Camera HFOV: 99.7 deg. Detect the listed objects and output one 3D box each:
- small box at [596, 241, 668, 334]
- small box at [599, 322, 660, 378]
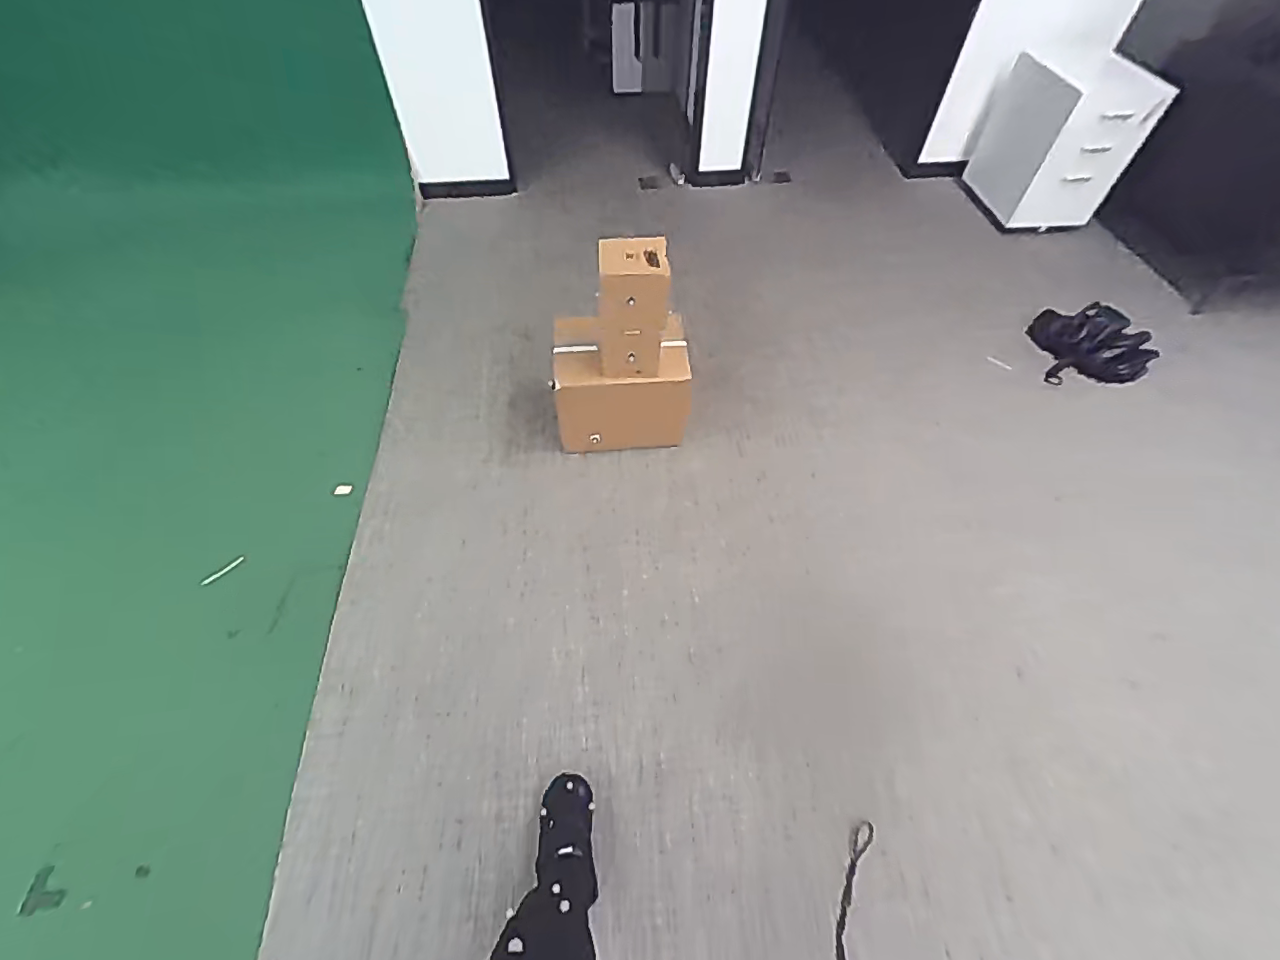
[{"bbox_3d":[-0.022,-0.503,1.420,0.179,0.176,0.168,-3,54,-1],"label":"small box"},{"bbox_3d":[-0.029,-0.409,1.555,0.168,0.176,0.179,-2,55,-1],"label":"small box"}]
